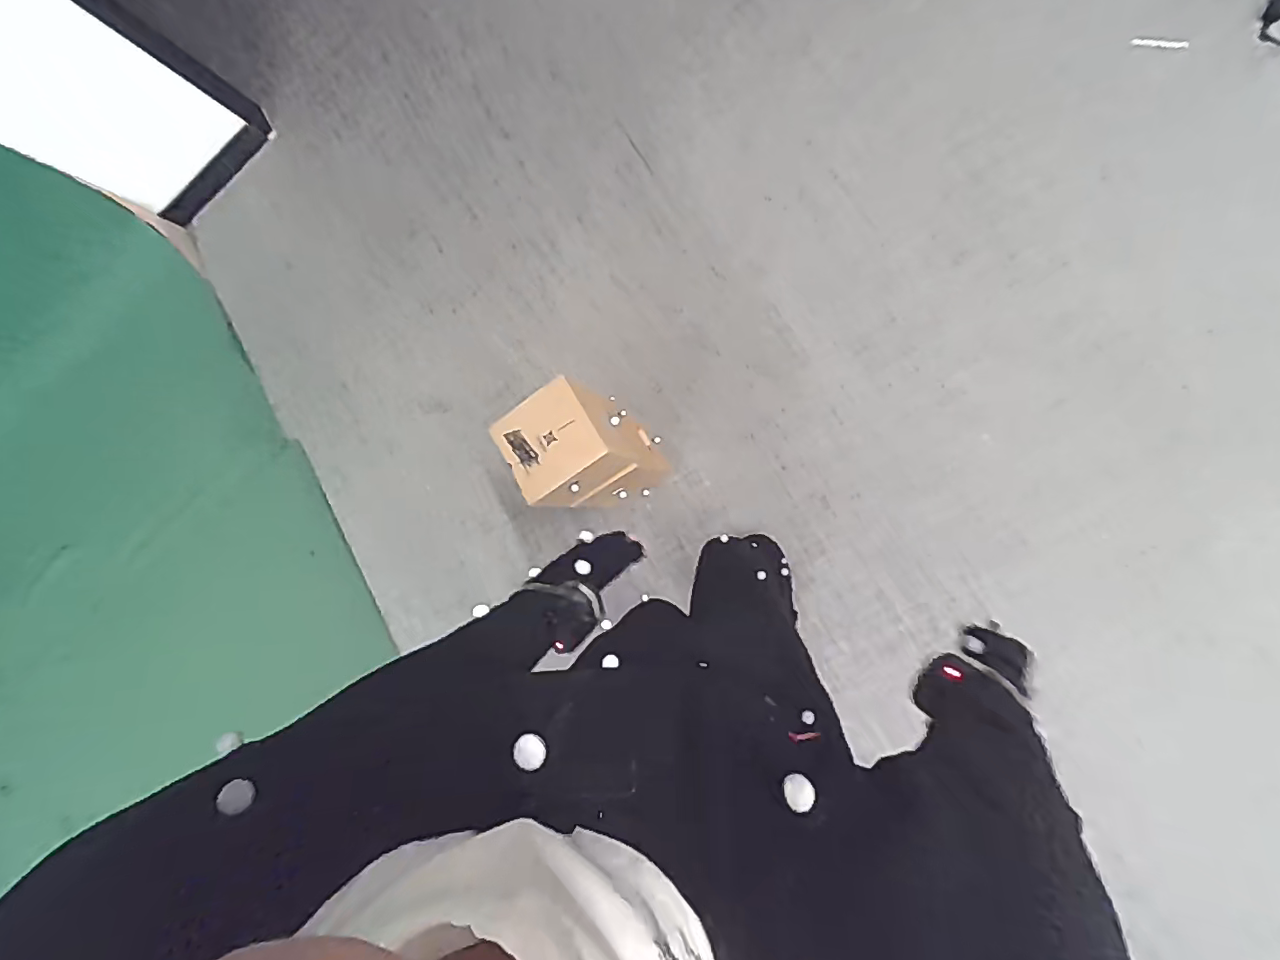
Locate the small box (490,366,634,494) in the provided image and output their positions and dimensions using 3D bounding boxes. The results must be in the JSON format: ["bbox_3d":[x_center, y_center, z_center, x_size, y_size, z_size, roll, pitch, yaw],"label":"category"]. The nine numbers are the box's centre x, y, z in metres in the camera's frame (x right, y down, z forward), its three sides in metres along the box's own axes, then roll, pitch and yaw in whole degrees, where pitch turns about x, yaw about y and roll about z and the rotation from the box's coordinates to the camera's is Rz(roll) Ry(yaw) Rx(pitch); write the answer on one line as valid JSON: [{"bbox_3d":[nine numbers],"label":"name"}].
[{"bbox_3d":[-0.139,-0.084,1.015,0.179,0.176,0.168,-32,79,15],"label":"small box"}]

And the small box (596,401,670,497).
[{"bbox_3d":[-0.039,-0.071,1.326,0.179,0.176,0.168,-29,80,14],"label":"small box"}]

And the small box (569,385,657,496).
[{"bbox_3d":[-0.087,-0.078,1.170,0.168,0.176,0.179,-31,81,16],"label":"small box"}]
